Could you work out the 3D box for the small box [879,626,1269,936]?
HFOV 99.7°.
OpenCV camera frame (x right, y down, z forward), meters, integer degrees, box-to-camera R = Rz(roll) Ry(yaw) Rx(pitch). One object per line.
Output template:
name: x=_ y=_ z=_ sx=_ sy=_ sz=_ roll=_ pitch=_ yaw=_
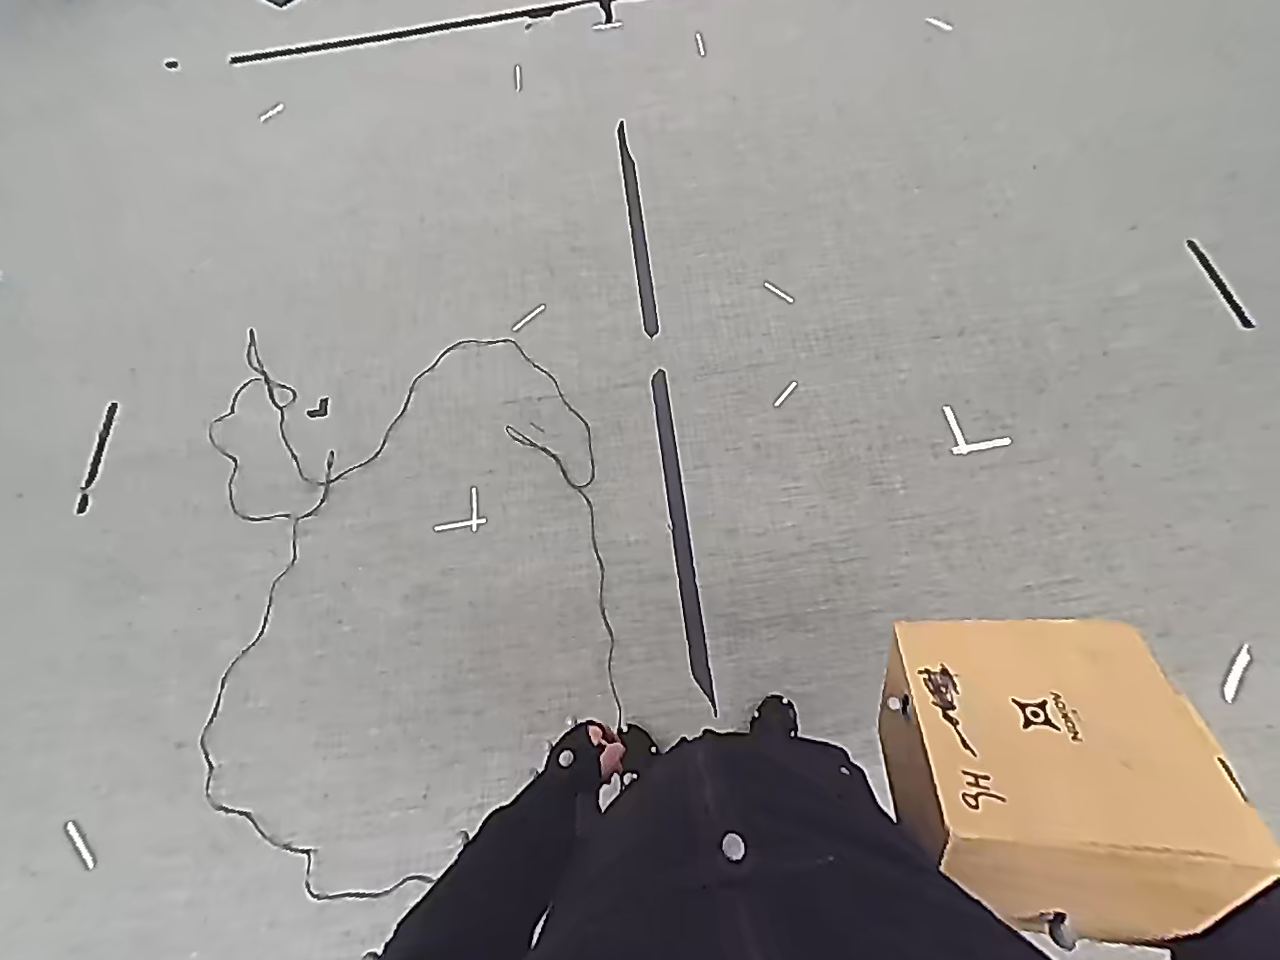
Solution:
small box: x=0.308 y=0.239 z=0.440 sx=0.179 sy=0.176 sz=0.168 roll=-3 pitch=37 yaw=13
